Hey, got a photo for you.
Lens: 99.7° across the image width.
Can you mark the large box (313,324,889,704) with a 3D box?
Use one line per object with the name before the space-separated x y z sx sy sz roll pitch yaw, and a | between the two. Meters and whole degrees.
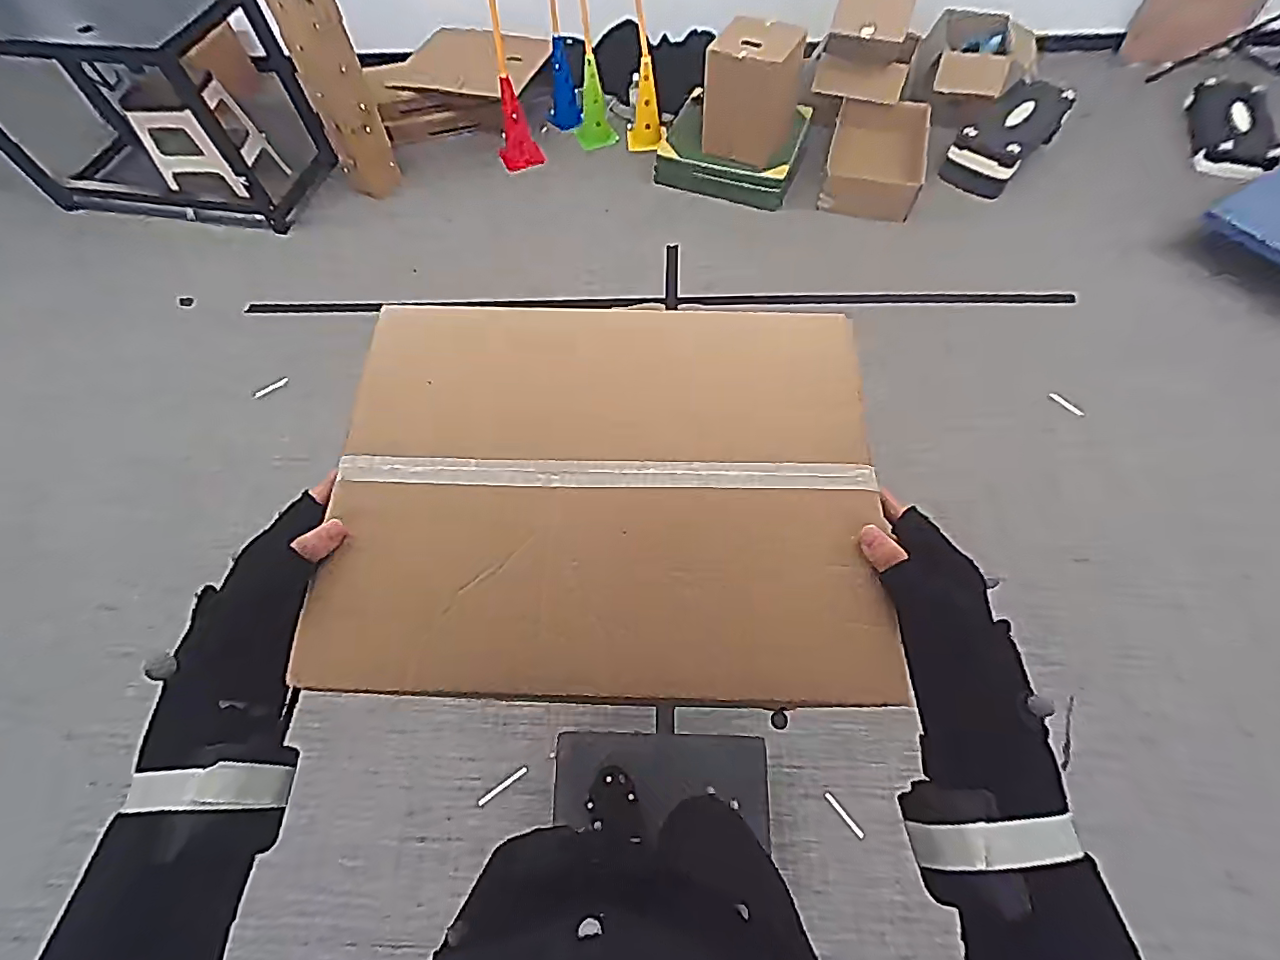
large box | -0.023 0.059 0.560 0.408 0.320 0.320 1 67 1
